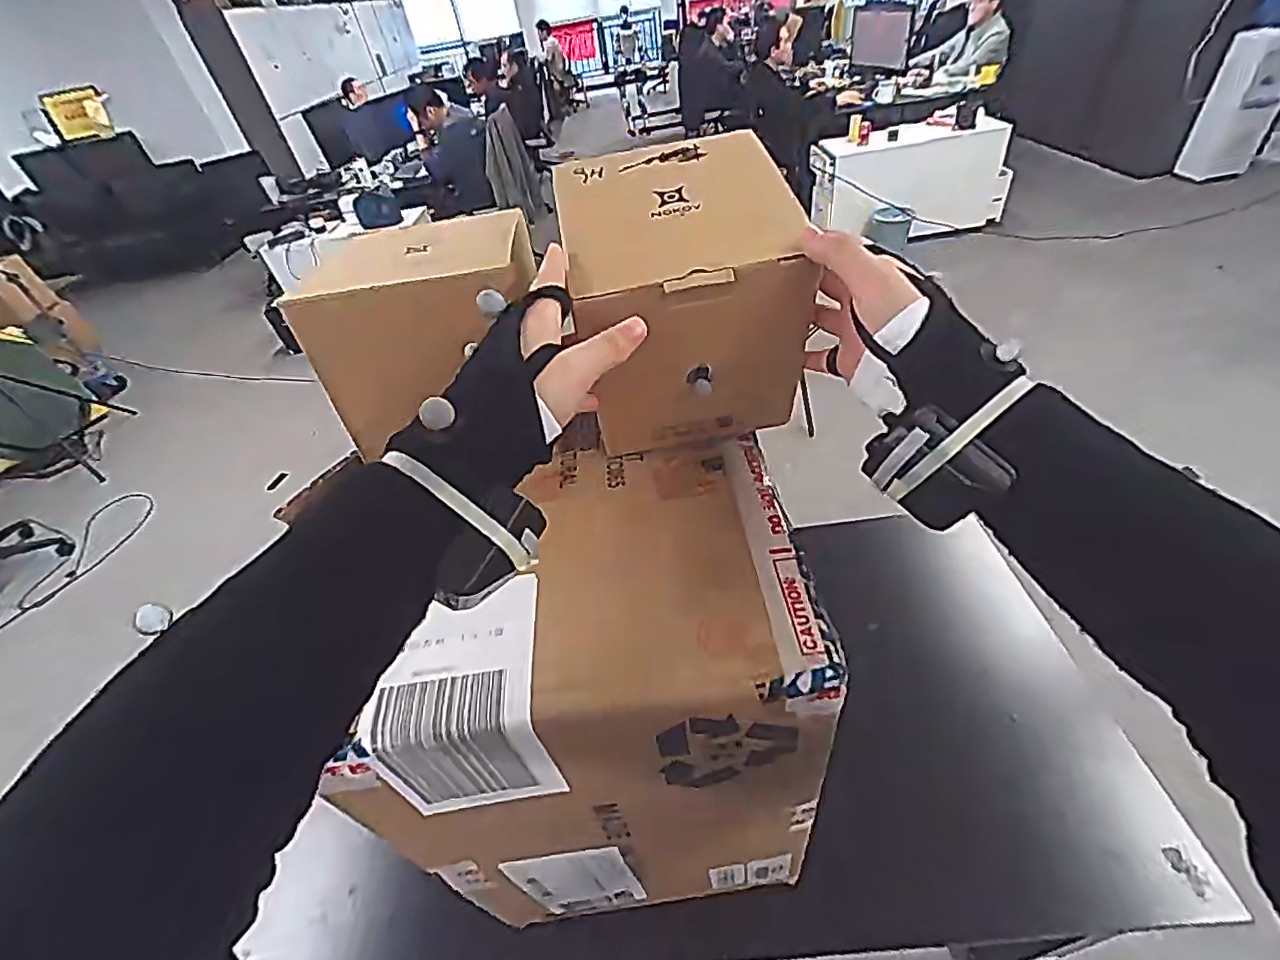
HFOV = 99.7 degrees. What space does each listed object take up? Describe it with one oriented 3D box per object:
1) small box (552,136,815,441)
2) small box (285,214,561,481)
[{"bbox_3d":[0.027,-0.148,0.452,0.168,0.176,0.179,-9,56,-2],"label":"small box"},{"bbox_3d":[-0.171,-0.124,0.496,0.168,0.176,0.179,-10,40,-1],"label":"small box"}]
